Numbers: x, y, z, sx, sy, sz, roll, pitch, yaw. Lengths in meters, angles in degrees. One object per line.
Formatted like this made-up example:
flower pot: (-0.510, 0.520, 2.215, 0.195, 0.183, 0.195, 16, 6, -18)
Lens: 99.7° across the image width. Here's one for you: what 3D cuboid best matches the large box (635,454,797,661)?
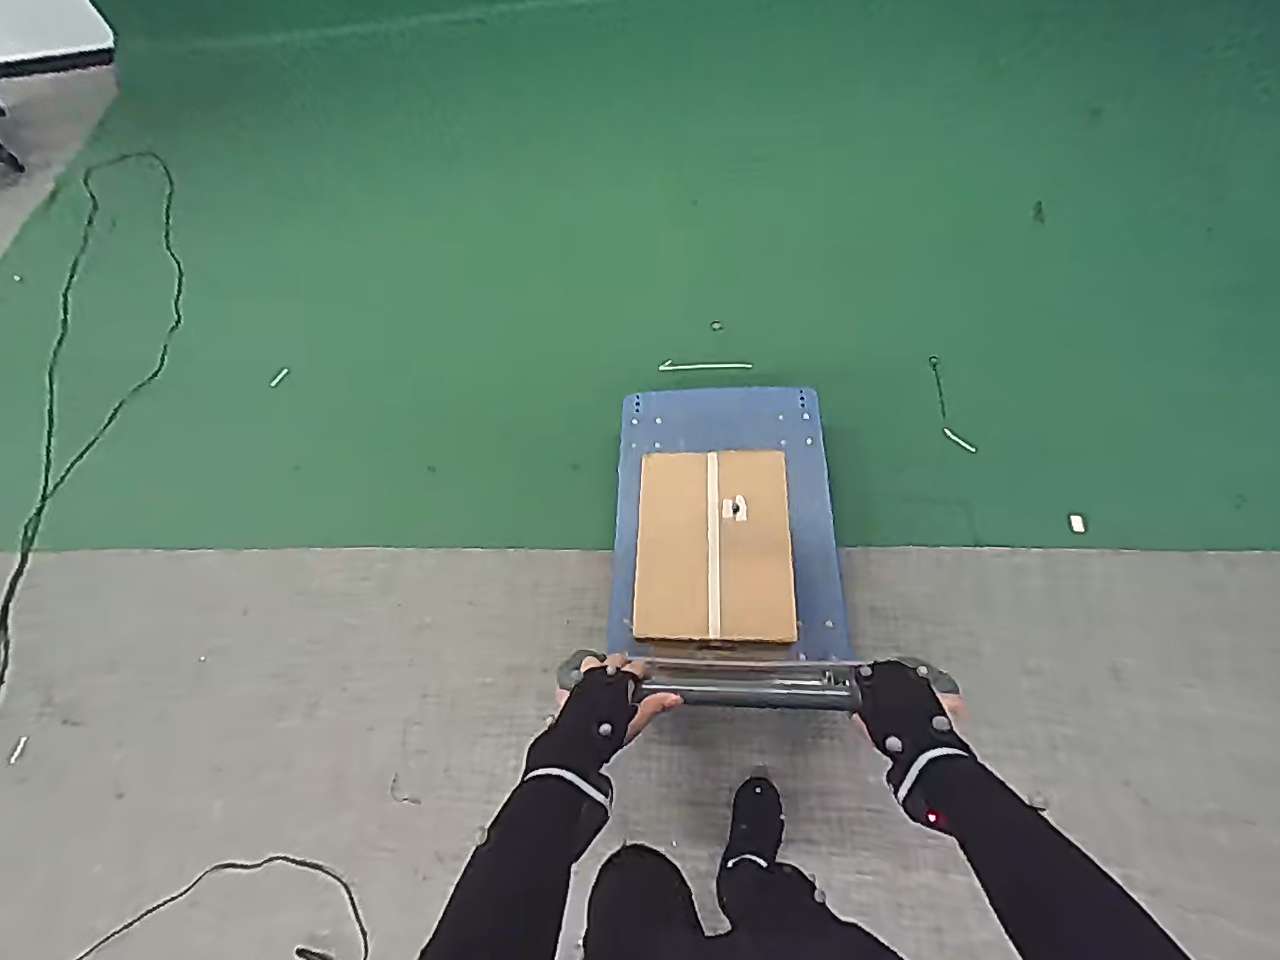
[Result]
large box: (0.167, 0.192, 1.249, 0.320, 0.320, 0.408, -1, 64, 7)
